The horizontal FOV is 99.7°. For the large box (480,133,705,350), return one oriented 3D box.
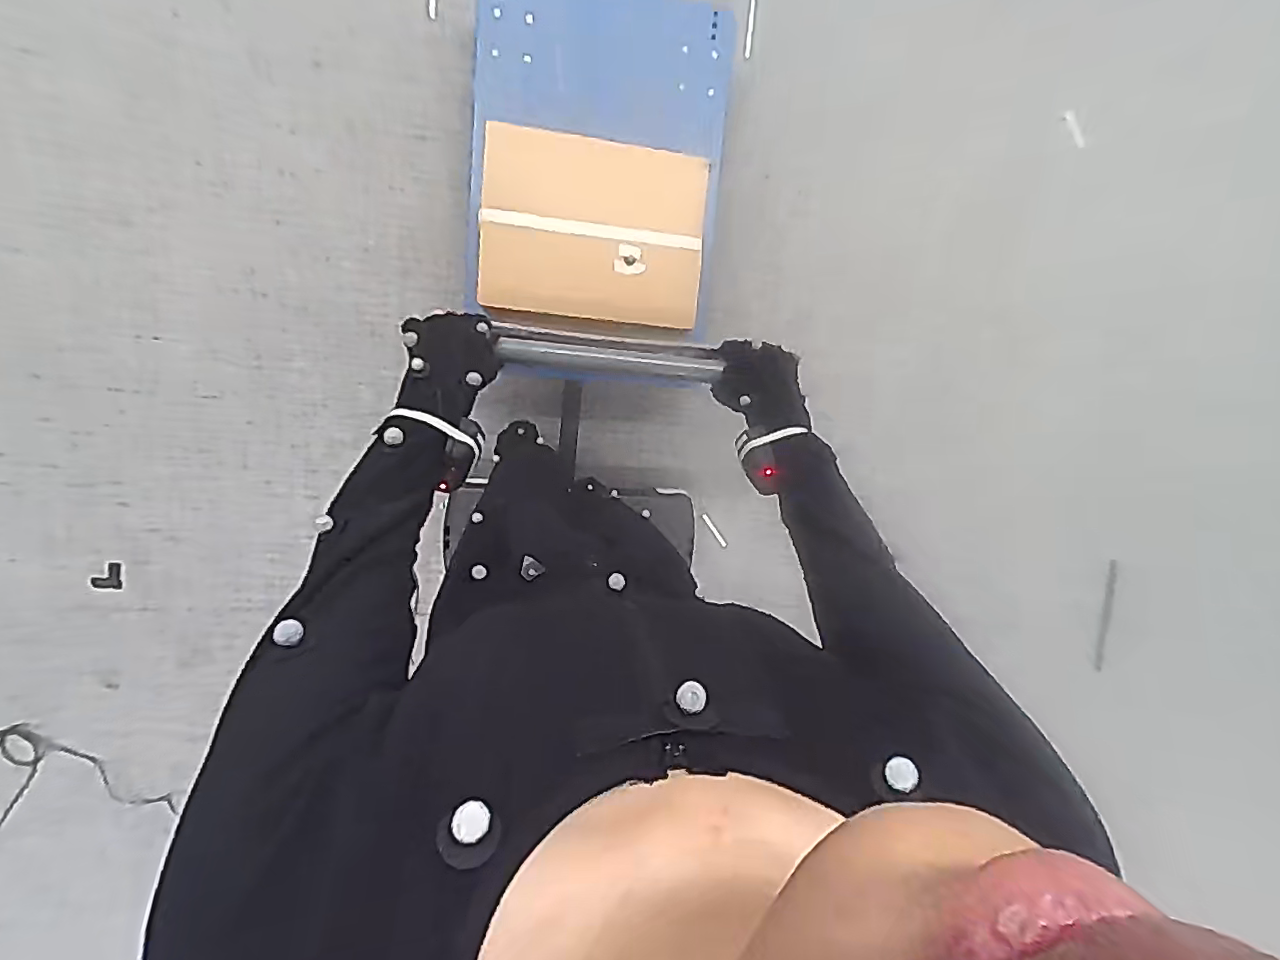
[{"bbox_3d":[-0.111,-0.460,1.131,0.408,0.320,0.320,4,97,-10],"label":"large box"}]
